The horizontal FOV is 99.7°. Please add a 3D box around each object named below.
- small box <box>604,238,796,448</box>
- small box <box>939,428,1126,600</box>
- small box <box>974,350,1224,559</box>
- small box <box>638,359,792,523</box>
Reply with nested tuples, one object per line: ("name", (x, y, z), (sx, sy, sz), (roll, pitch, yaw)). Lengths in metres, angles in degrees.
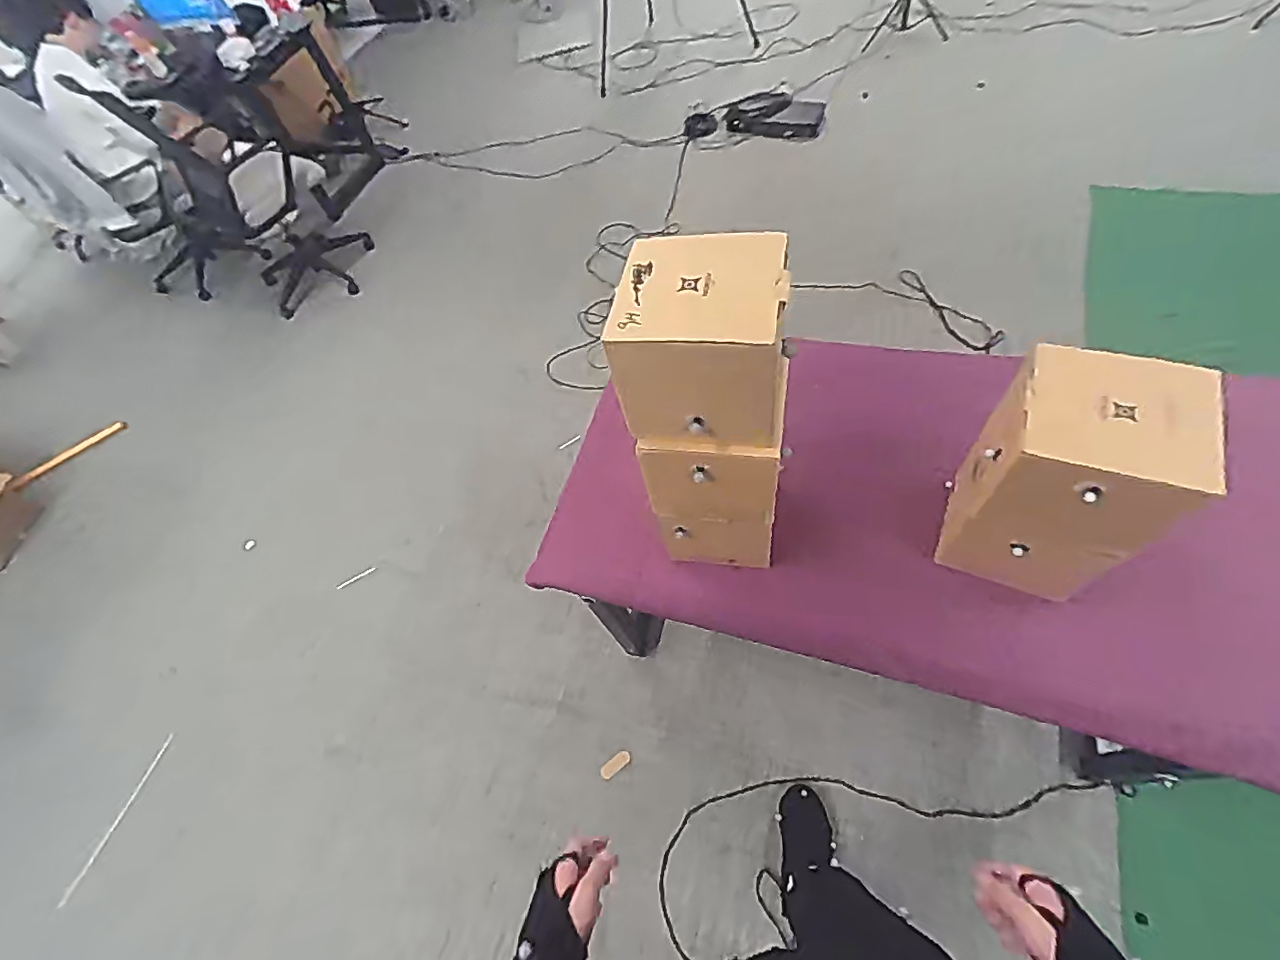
("small box", (0.077, -0.152, 0.623), (0.179, 0.176, 0.168), (6, 60, 15))
("small box", (0.562, 0.054, 0.787), (0.179, 0.176, 0.168), (19, 65, 21))
("small box", (0.531, -0.026, 0.648), (0.179, 0.176, 0.168), (17, 65, 21))
("small box", (0.111, -0.053, 0.750), (0.179, 0.176, 0.168), (5, 60, 15))
